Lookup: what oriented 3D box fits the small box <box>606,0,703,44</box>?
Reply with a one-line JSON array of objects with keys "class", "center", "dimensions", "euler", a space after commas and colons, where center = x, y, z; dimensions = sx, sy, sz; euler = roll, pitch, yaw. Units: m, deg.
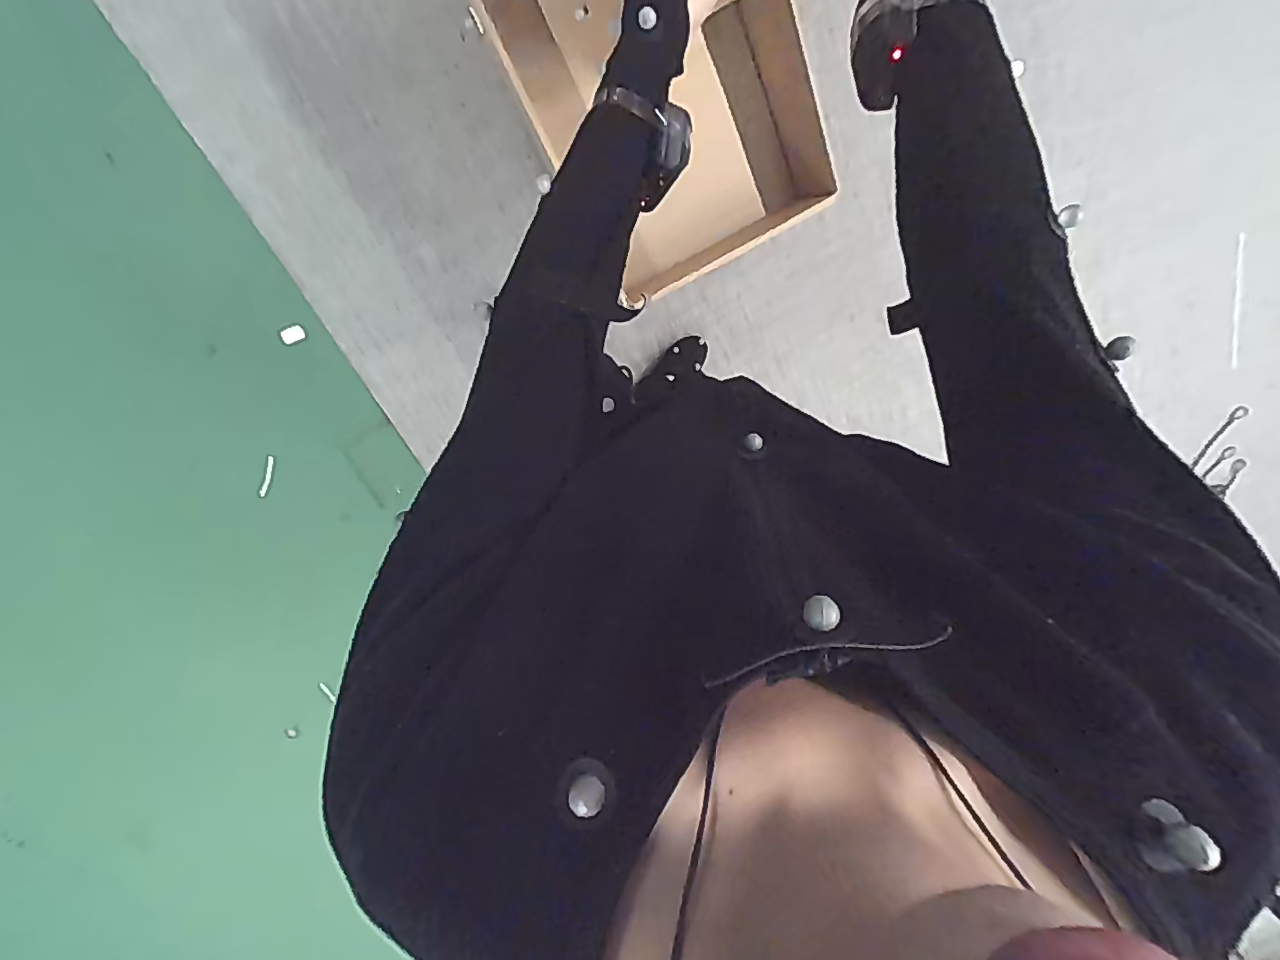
[{"class": "small box", "center": [0.034, -0.628, 0.598], "dimensions": [0.168, 0.176, 0.179], "euler": [-33, 118, 3]}]

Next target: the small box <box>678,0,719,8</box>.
[{"class": "small box", "center": [0.090, -0.550, 0.455], "dimensions": [0.168, 0.176, 0.179], "euler": [-28, 113, 1]}]
